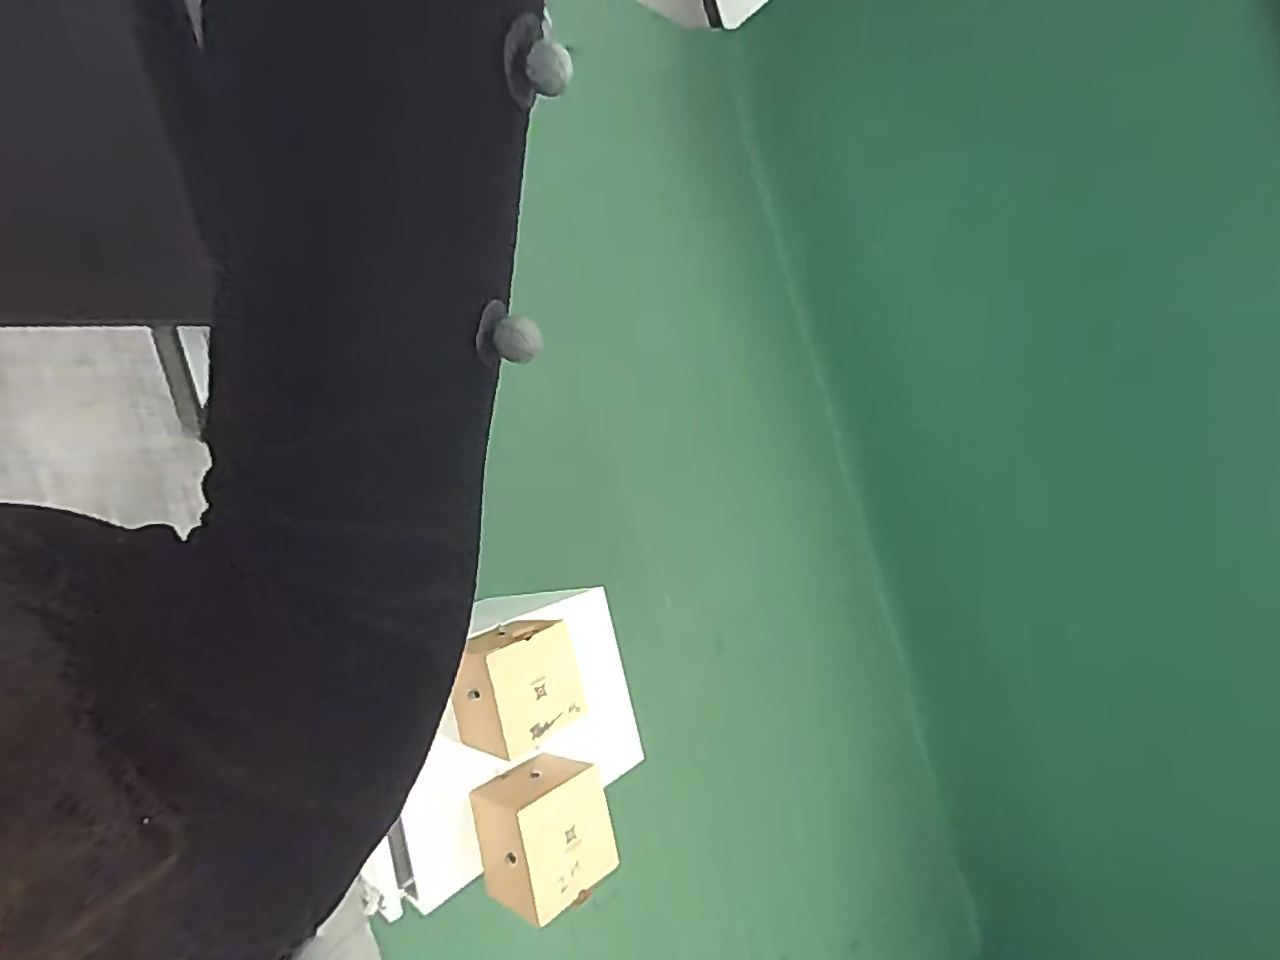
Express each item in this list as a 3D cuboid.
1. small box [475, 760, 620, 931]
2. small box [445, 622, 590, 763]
[{"bbox_3d":[-0.163,0.603,0.927,0.168,0.176,0.179,-8,84,-44],"label":"small box"},{"bbox_3d":[-0.219,0.360,0.947,0.168,0.176,0.179,-12,88,-45],"label":"small box"}]
